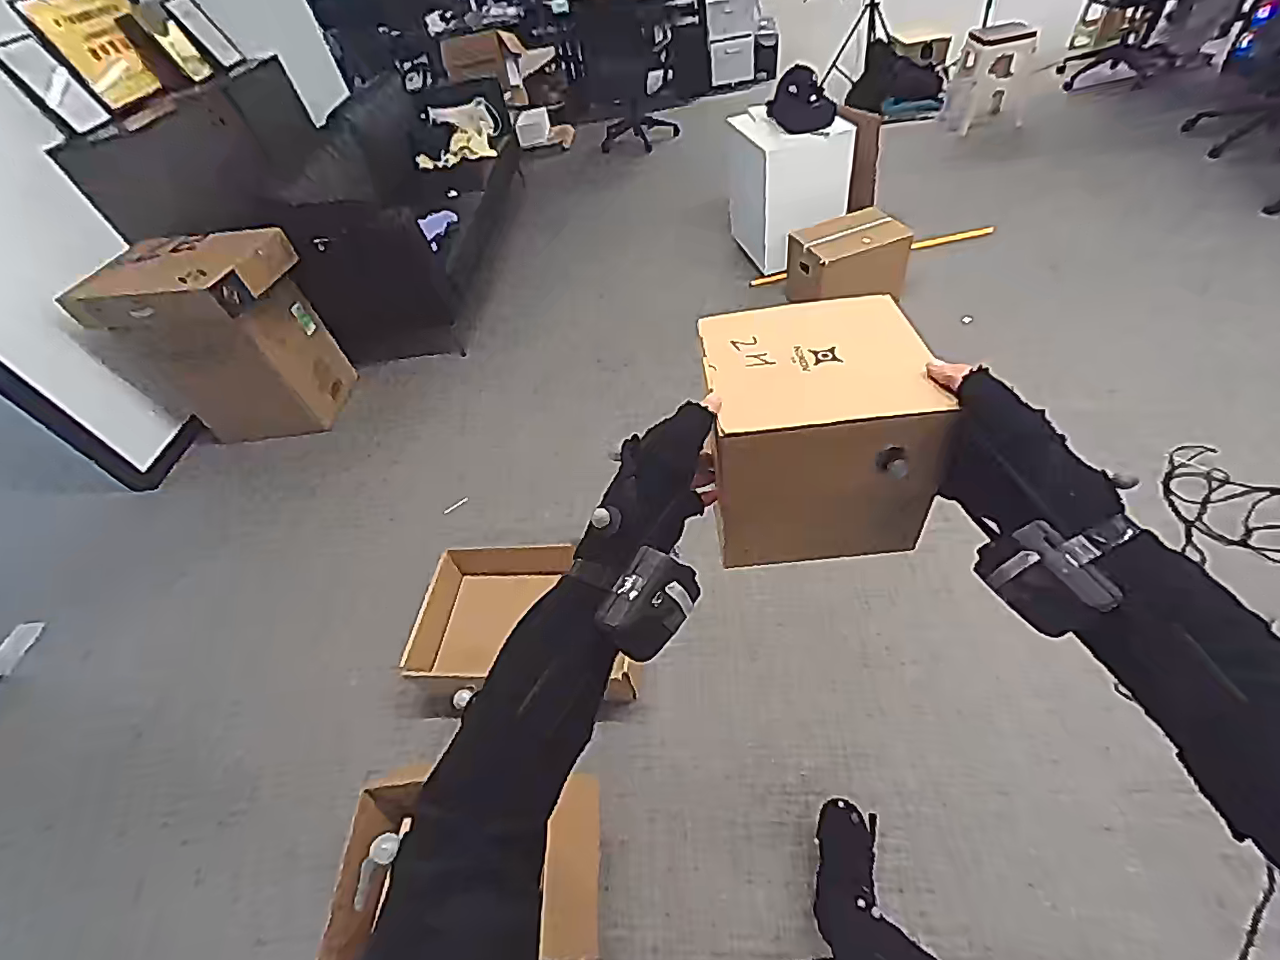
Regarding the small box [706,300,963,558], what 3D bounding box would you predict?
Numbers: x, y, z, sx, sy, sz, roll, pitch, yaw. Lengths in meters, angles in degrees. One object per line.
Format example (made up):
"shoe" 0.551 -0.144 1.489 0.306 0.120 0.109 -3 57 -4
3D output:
"small box" 0.157 -0.044 0.507 0.179 0.176 0.168 -6 45 4
